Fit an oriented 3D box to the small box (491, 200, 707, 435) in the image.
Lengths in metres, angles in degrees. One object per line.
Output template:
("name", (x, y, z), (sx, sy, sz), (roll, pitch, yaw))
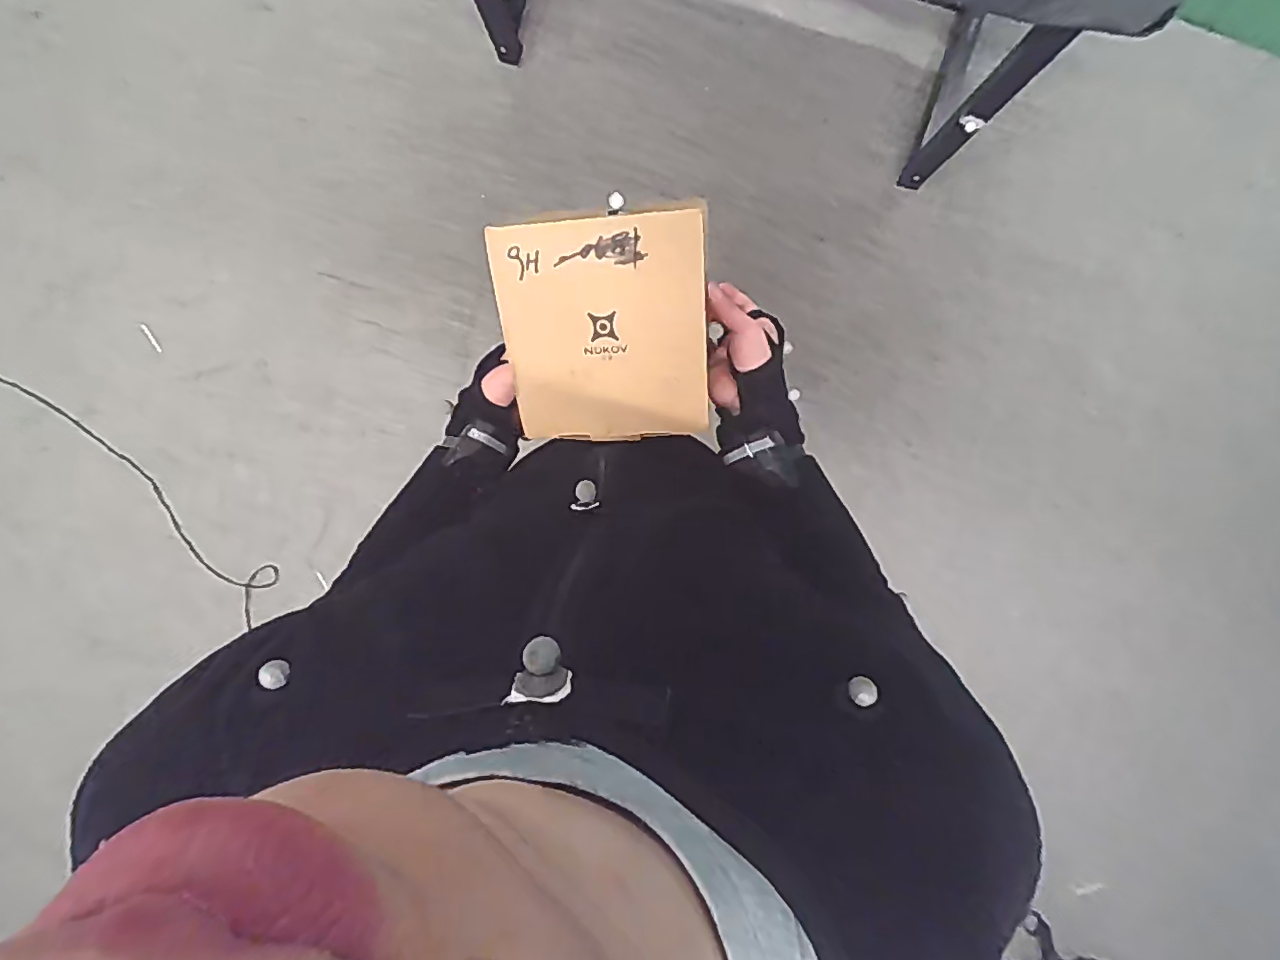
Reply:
("small box", (-0.020, -0.157, 0.514), (0.168, 0.176, 0.179), (-1, 120, 7))
